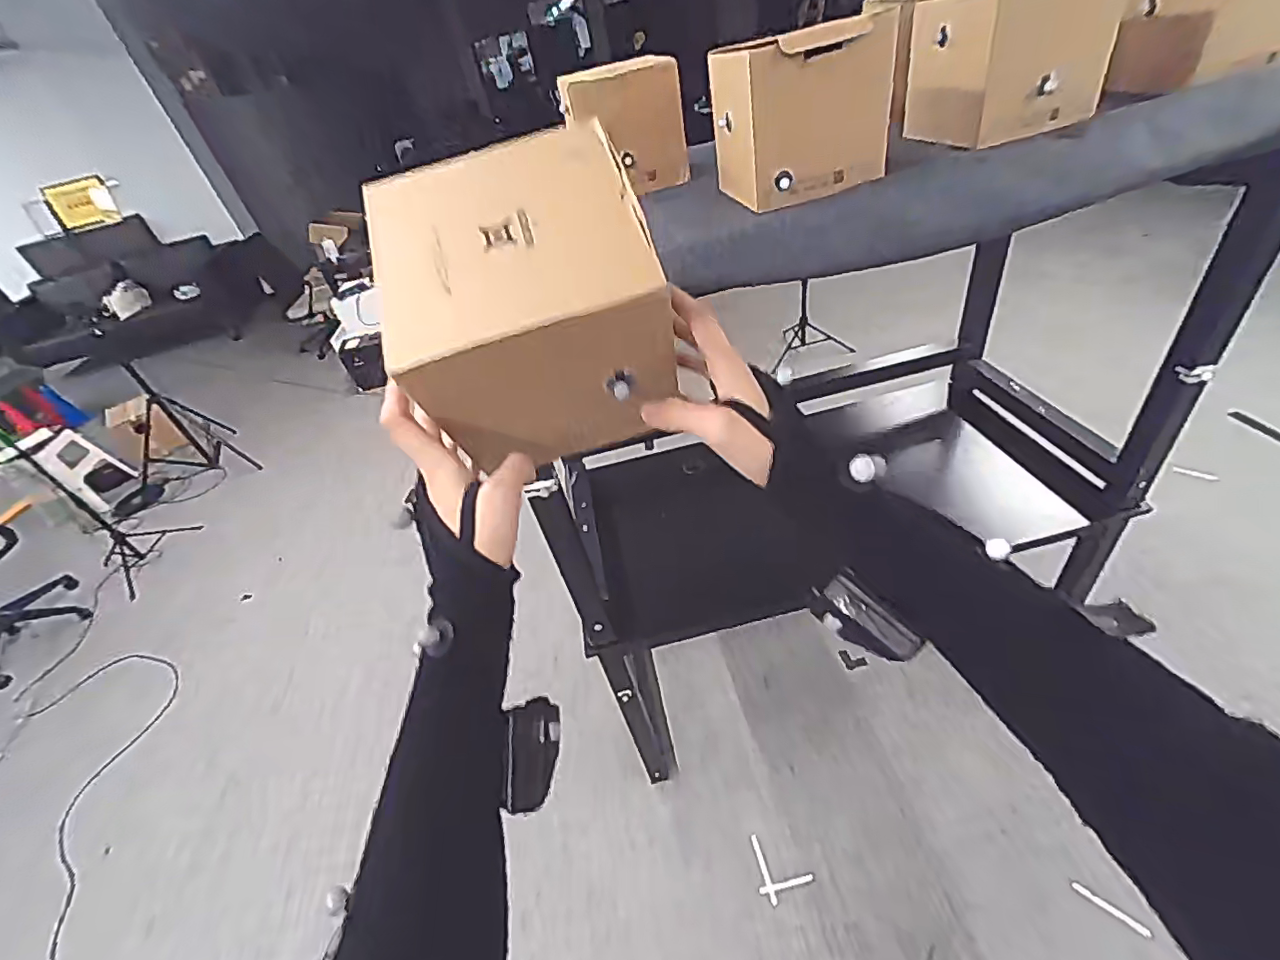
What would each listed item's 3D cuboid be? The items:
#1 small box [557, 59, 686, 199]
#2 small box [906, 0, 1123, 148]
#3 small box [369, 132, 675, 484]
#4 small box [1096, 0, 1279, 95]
[{"bbox_3d":[-0.031,-0.573,0.893,0.168,0.176,0.179,-16,41,-2],"label":"small box"},{"bbox_3d":[0.483,-0.563,0.726,0.168,0.176,0.179,-15,38,-1],"label":"small box"},{"bbox_3d":[-0.077,-0.118,0.420,0.179,0.176,0.168,-17,66,-1],"label":"small box"},{"bbox_3d":[0.773,-0.639,0.731,0.168,0.176,0.179,-14,38,1],"label":"small box"}]
